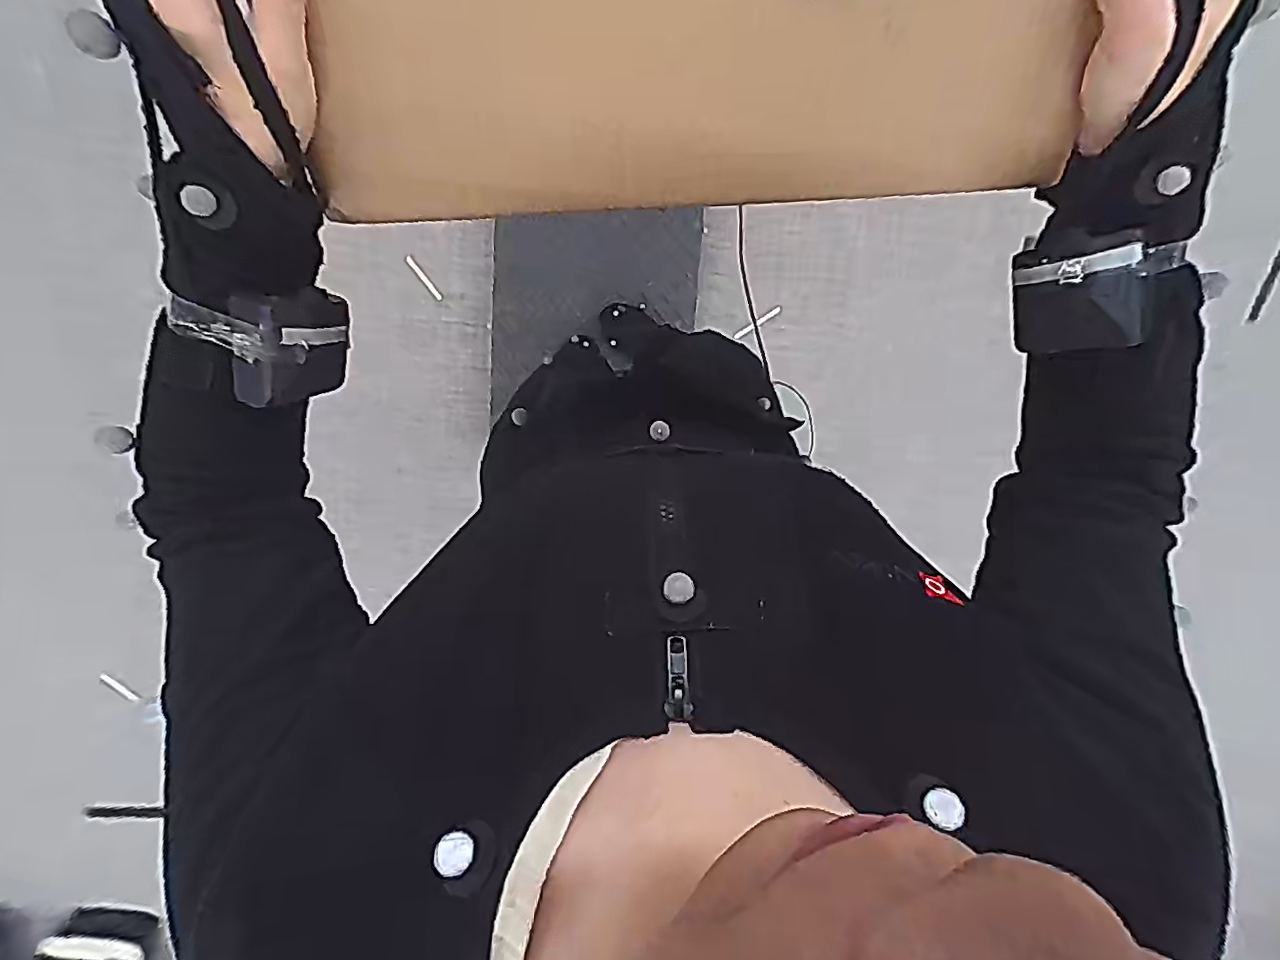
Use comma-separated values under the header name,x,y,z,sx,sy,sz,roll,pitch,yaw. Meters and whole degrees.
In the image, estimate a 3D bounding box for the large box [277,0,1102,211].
name,x,y,z,sx,sy,sz,roll,pitch,yaw
large box,0.017,-0.373,0.338,0.408,0.320,0.320,-3,127,-2
